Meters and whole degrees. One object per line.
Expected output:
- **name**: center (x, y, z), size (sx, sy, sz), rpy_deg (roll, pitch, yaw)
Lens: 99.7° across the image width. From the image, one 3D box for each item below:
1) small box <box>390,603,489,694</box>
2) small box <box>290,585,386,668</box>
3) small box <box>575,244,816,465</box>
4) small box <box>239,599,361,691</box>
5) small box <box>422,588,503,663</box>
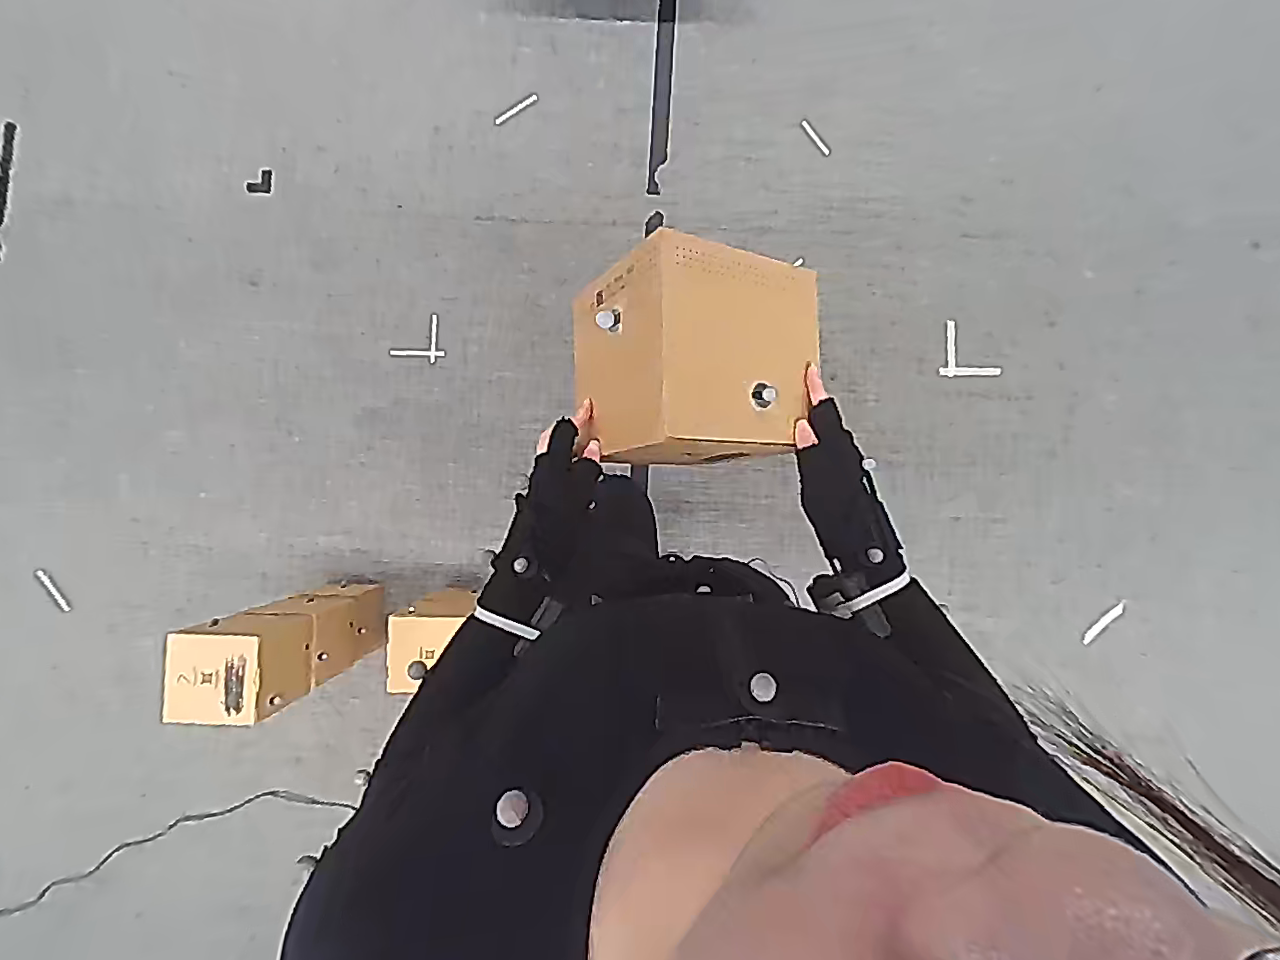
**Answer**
- **small box**: center (-0.457, 0.385, 1.256), size (0.179, 0.176, 0.168), rpy_deg (0, 89, 0)
- **small box**: center (-0.786, 0.379, 1.417), size (0.168, 0.176, 0.179), rpy_deg (1, 88, 0)
- **small box**: center (0.048, -0.106, 0.526), size (0.179, 0.168, 0.176), rpy_deg (0, 86, -31)
- **small box**: center (-0.780, 0.376, 1.253), size (0.179, 0.176, 0.168), rpy_deg (0, 89, 1)
- **small box**: center (-0.466, 0.390, 1.418), size (0.168, 0.176, 0.179), rpy_deg (5, 88, -1)
